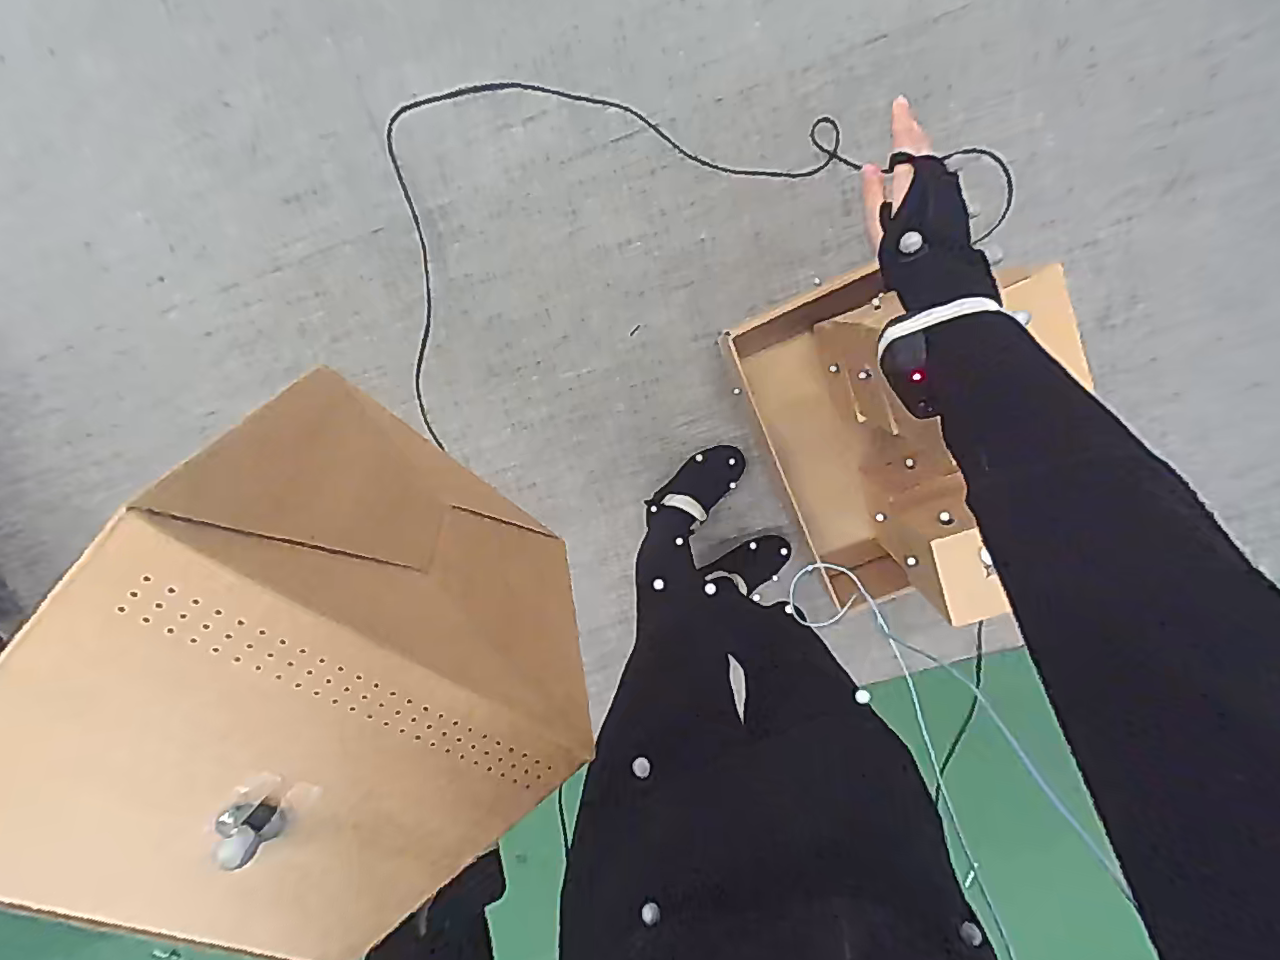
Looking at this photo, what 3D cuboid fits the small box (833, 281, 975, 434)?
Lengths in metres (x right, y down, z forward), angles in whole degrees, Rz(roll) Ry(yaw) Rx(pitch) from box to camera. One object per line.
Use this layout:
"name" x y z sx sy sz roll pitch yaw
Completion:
"small box" 0.420 -0.192 0.844 0.168 0.176 0.179 -19 105 9

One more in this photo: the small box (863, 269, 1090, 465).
"small box" 0.412 -0.146 0.689 0.168 0.176 0.179 -24 103 11

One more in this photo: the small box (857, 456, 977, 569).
"small box" 0.557 0.061 1.081 0.168 0.176 0.179 -19 104 8

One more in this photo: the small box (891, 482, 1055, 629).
"small box" 0.554 0.121 0.926 0.179 0.176 0.168 -19 105 7
